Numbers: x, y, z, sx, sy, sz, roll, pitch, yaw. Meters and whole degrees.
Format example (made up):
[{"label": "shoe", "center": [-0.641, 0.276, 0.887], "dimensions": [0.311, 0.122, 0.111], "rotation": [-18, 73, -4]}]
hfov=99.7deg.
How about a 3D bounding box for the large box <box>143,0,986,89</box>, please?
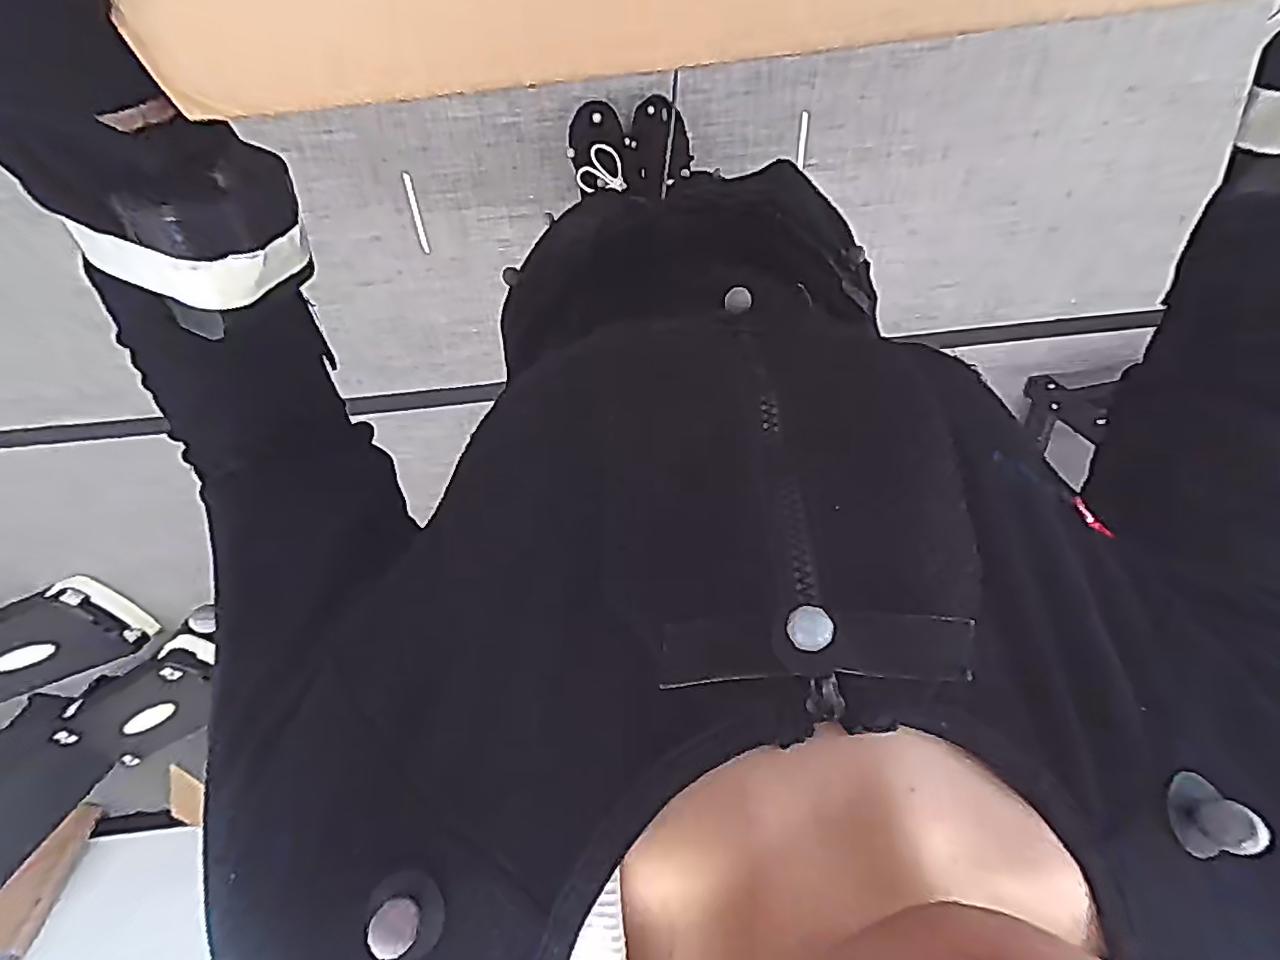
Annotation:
[{"label": "large box", "center": [0.015, -0.369, 0.142], "dimensions": [0.408, 0.320, 0.320], "rotation": [-7, 147, -1]}]
